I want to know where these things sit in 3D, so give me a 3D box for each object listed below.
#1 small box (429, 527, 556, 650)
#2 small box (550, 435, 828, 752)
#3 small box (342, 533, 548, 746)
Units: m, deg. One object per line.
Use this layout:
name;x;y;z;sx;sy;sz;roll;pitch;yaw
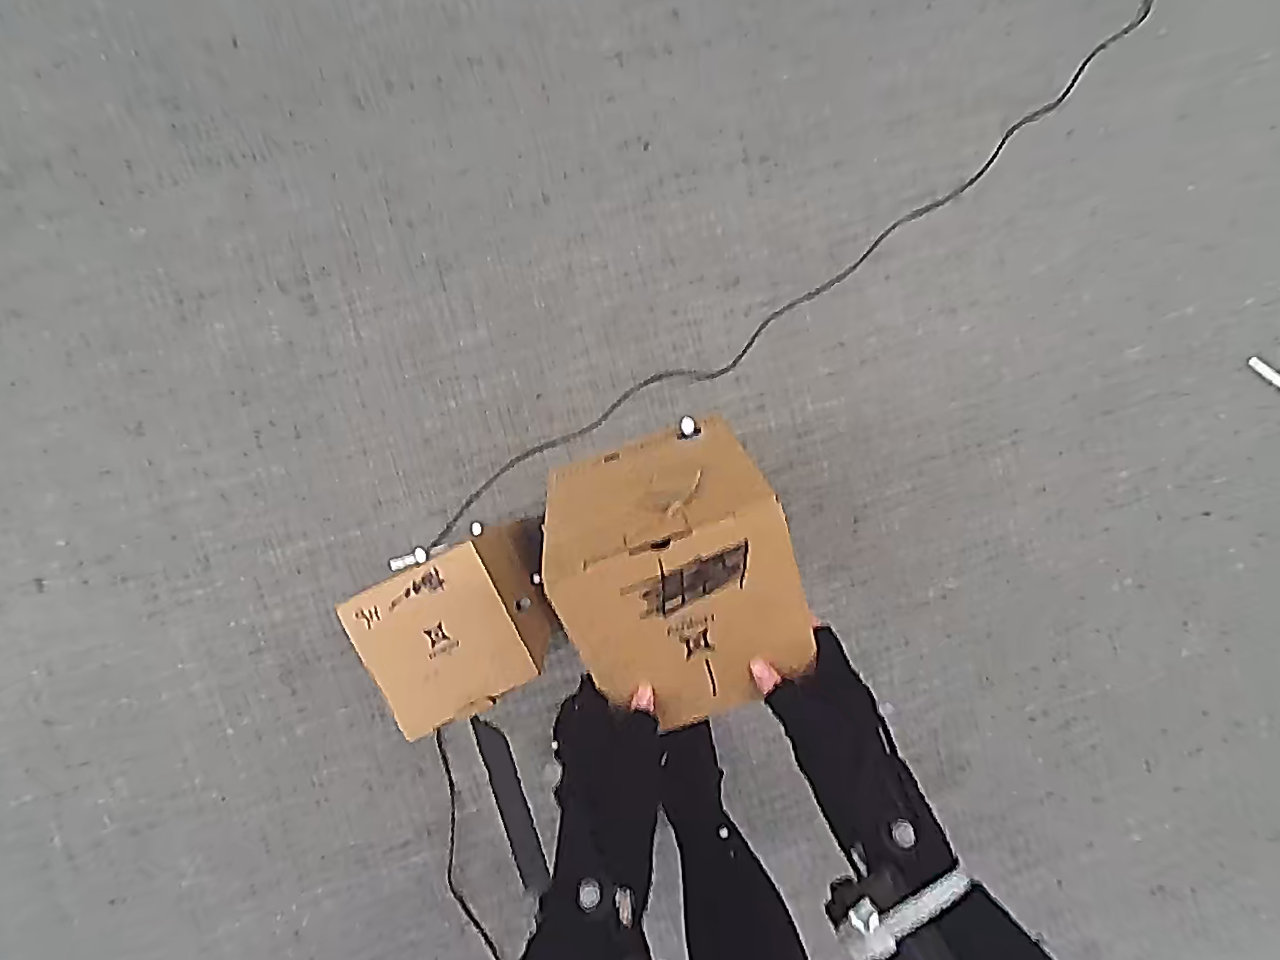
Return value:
small box;-0.239;0.187;0.848;0.168;0.176;0.179;-22;93;-4
small box;0.033;0.079;0.451;0.168;0.176;0.179;-20;118;3
small box;-0.227;0.186;0.684;0.168;0.176;0.179;-26;94;-4
